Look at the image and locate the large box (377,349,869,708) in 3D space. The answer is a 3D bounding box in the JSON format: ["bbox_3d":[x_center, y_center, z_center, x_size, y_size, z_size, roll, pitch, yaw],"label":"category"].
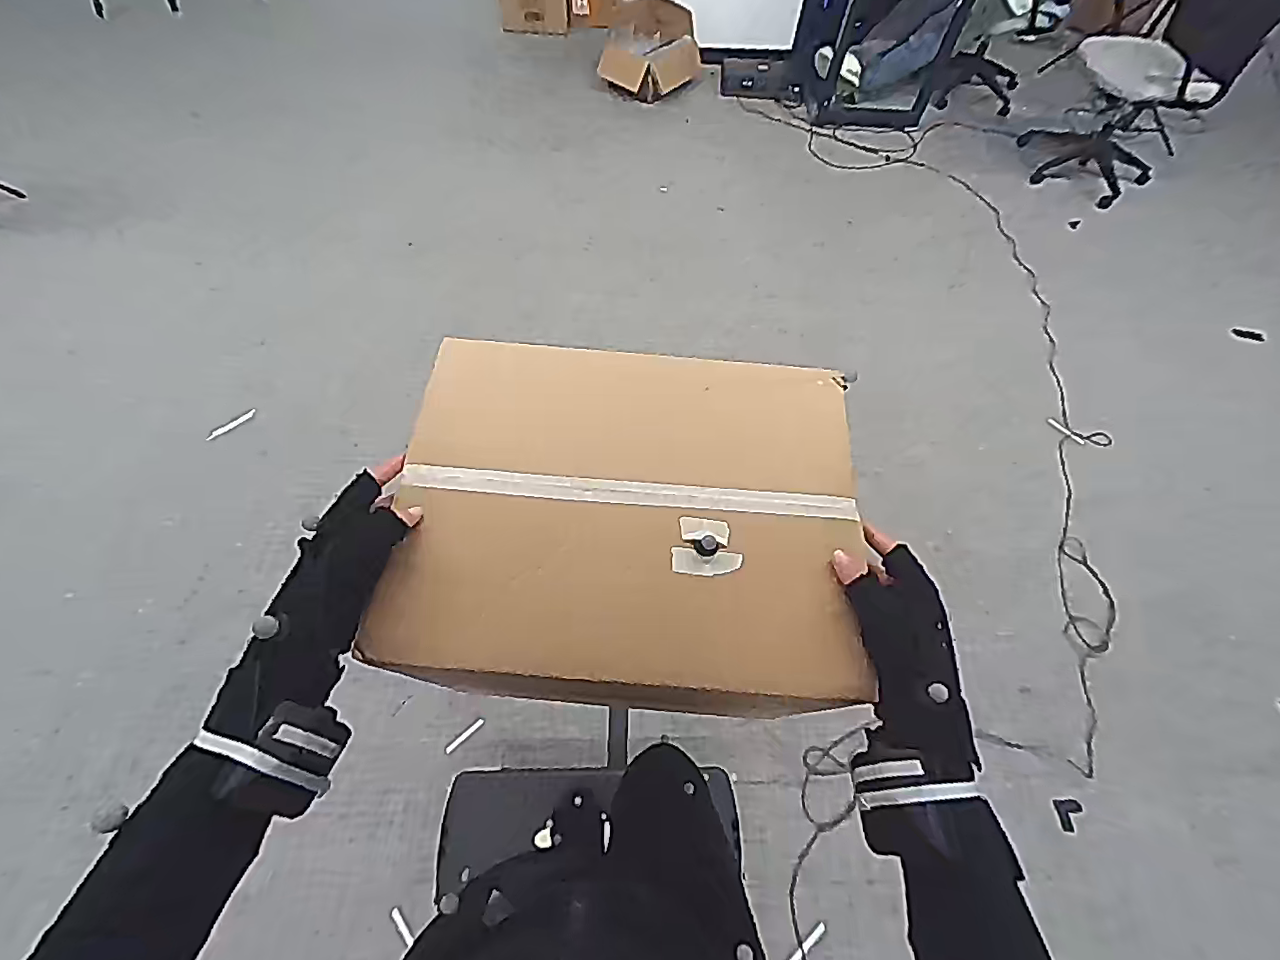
[{"bbox_3d":[-0.013,0.079,0.627,0.408,0.320,0.320,5,65,-1],"label":"large box"}]
